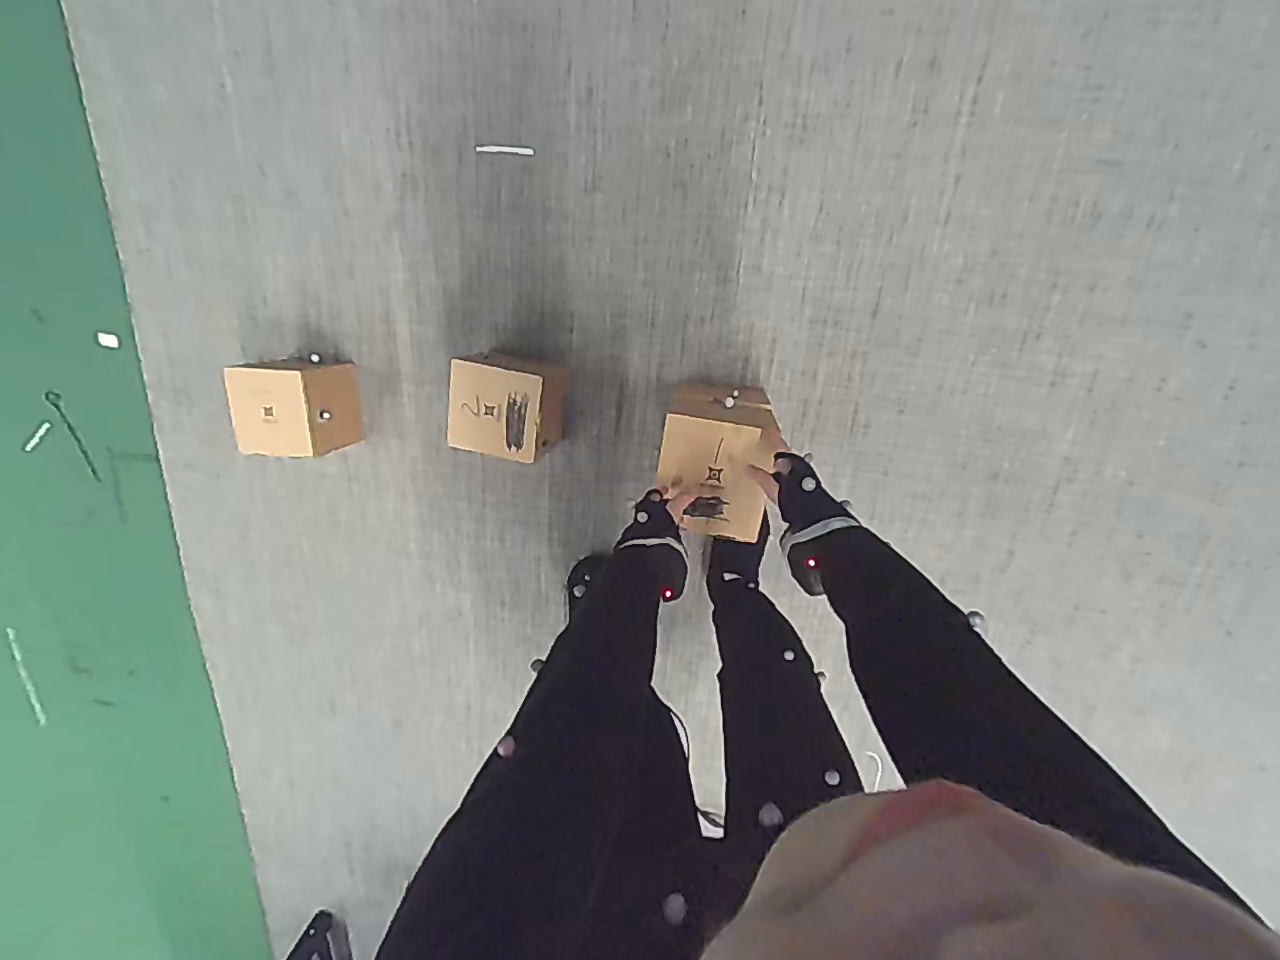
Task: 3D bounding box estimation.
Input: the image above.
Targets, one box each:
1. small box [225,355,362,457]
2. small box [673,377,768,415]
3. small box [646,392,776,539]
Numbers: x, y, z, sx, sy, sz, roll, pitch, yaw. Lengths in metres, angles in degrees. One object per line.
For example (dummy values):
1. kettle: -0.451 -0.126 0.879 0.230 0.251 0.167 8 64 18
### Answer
1. small box: -0.708 -0.159 1.126 0.168 0.176 0.179 5 108 6
2. small box: 0.139 -0.086 1.016 0.168 0.176 0.179 9 110 6
3. small box: 0.112 -0.031 0.862 0.168 0.176 0.179 10 109 5
